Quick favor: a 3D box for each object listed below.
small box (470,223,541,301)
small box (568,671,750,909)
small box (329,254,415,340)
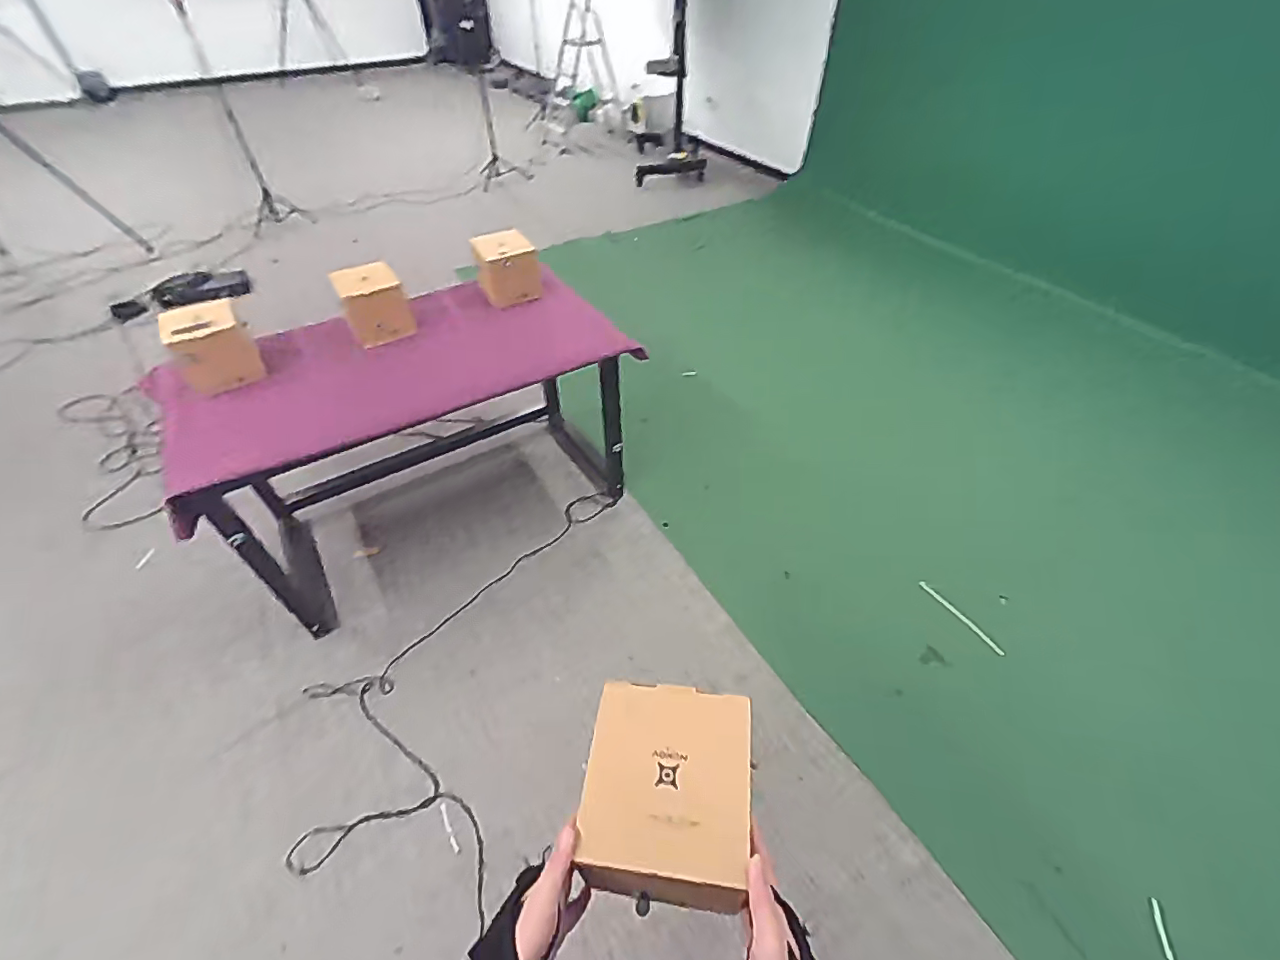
[{"bbox_3d":[-0.439,-0.716,1.779,0.168,0.176,0.179,-23,52,-19],"label":"small box"},{"bbox_3d":[0.029,0.338,0.594,0.168,0.176,0.179,4,46,8],"label":"small box"},{"bbox_3d":[-0.801,-0.548,1.621,0.168,0.176,0.179,-25,53,-23],"label":"small box"}]
